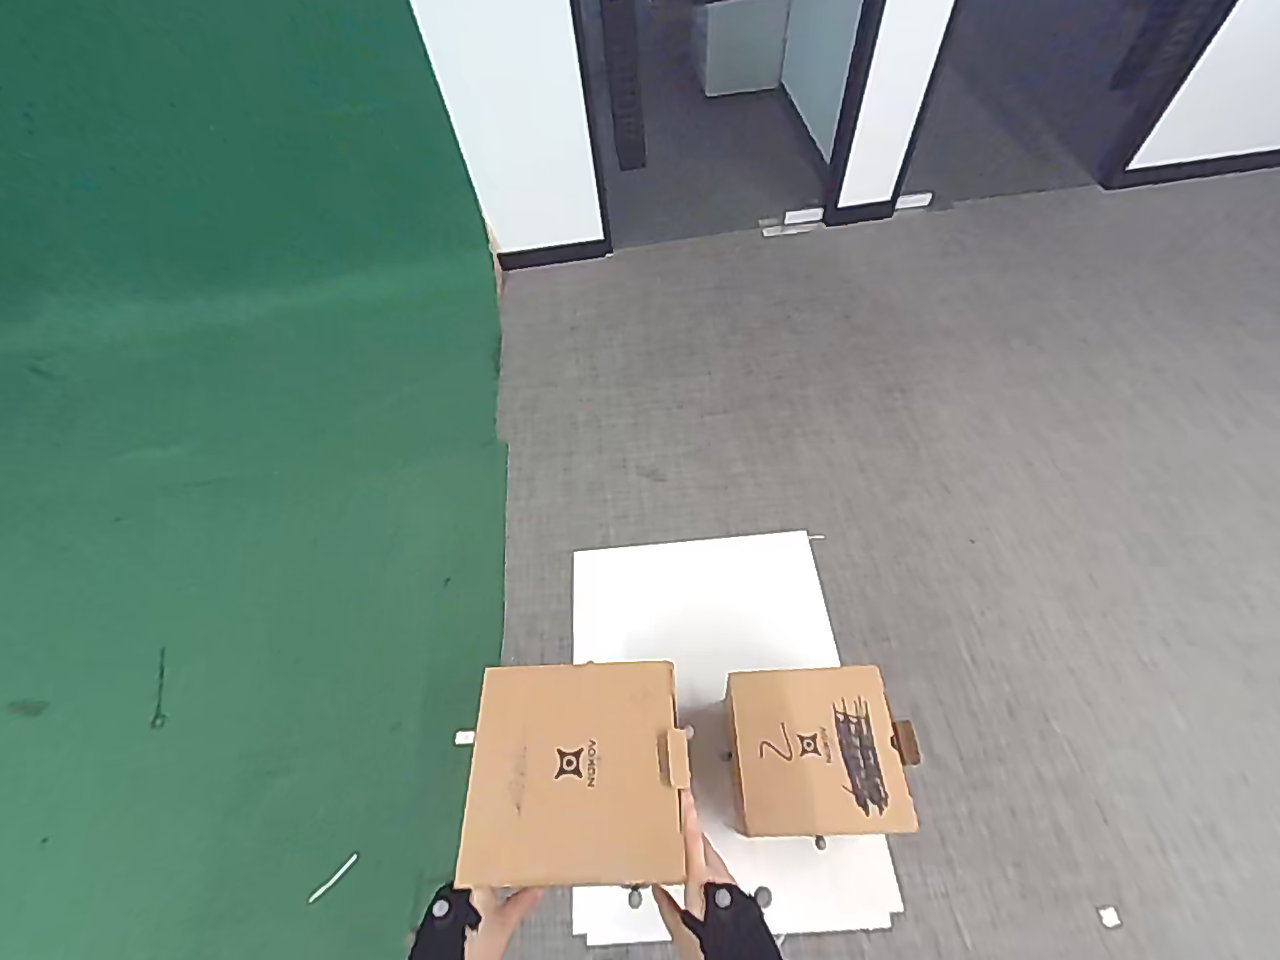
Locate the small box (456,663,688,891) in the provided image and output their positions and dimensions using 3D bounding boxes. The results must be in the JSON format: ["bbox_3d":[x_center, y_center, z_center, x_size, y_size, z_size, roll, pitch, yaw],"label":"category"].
[{"bbox_3d":[-0.049,0.283,0.511,0.179,0.176,0.168,-4,52,2],"label":"small box"}]
